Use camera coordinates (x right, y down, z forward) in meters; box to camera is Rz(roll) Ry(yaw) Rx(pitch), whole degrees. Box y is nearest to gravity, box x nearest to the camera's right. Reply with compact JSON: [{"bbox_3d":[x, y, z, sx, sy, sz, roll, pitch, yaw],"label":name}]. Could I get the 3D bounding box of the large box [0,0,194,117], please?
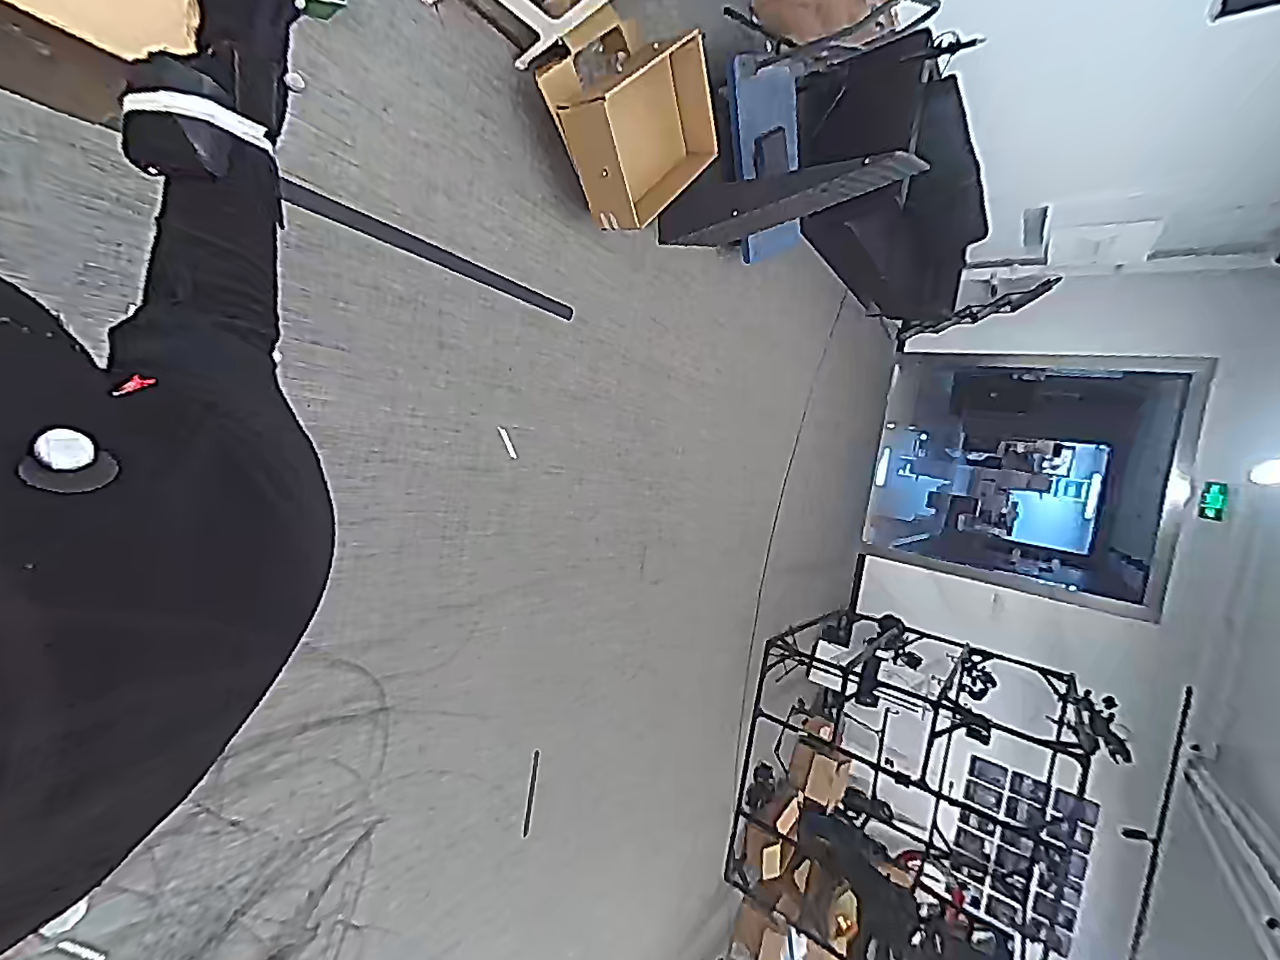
[{"bbox_3d":[-0.524,-0.470,0.285,0.408,0.320,0.320,2,106,-56],"label":"large box"}]
